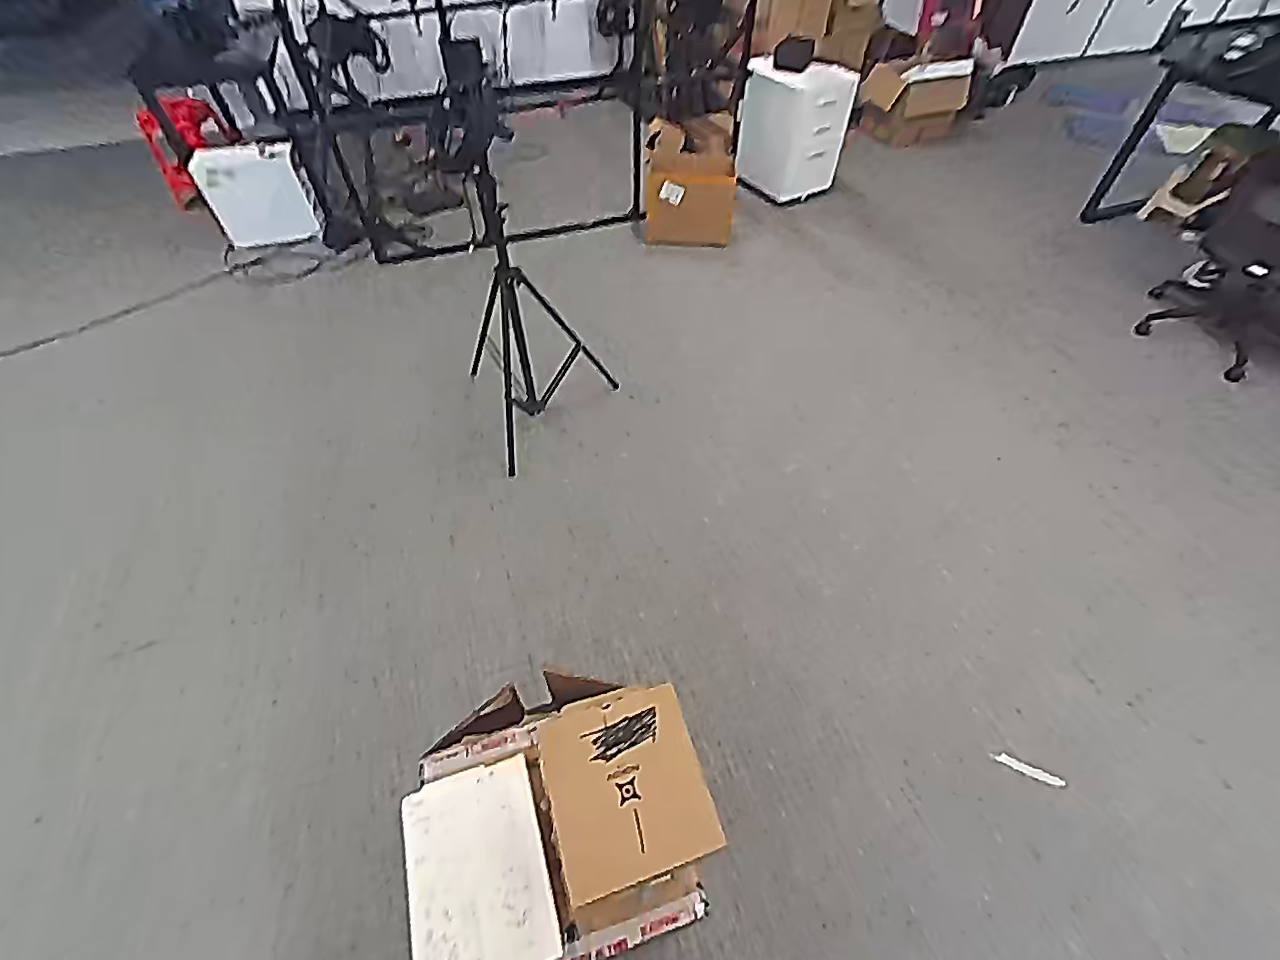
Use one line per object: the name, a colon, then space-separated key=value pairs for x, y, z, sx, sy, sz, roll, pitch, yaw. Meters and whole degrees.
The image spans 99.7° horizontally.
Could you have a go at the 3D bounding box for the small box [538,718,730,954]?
small box: x=-0.017 y=0.409 z=0.629 sx=0.168 sy=0.176 sz=0.179 roll=-13 pitch=54 yaw=-13
